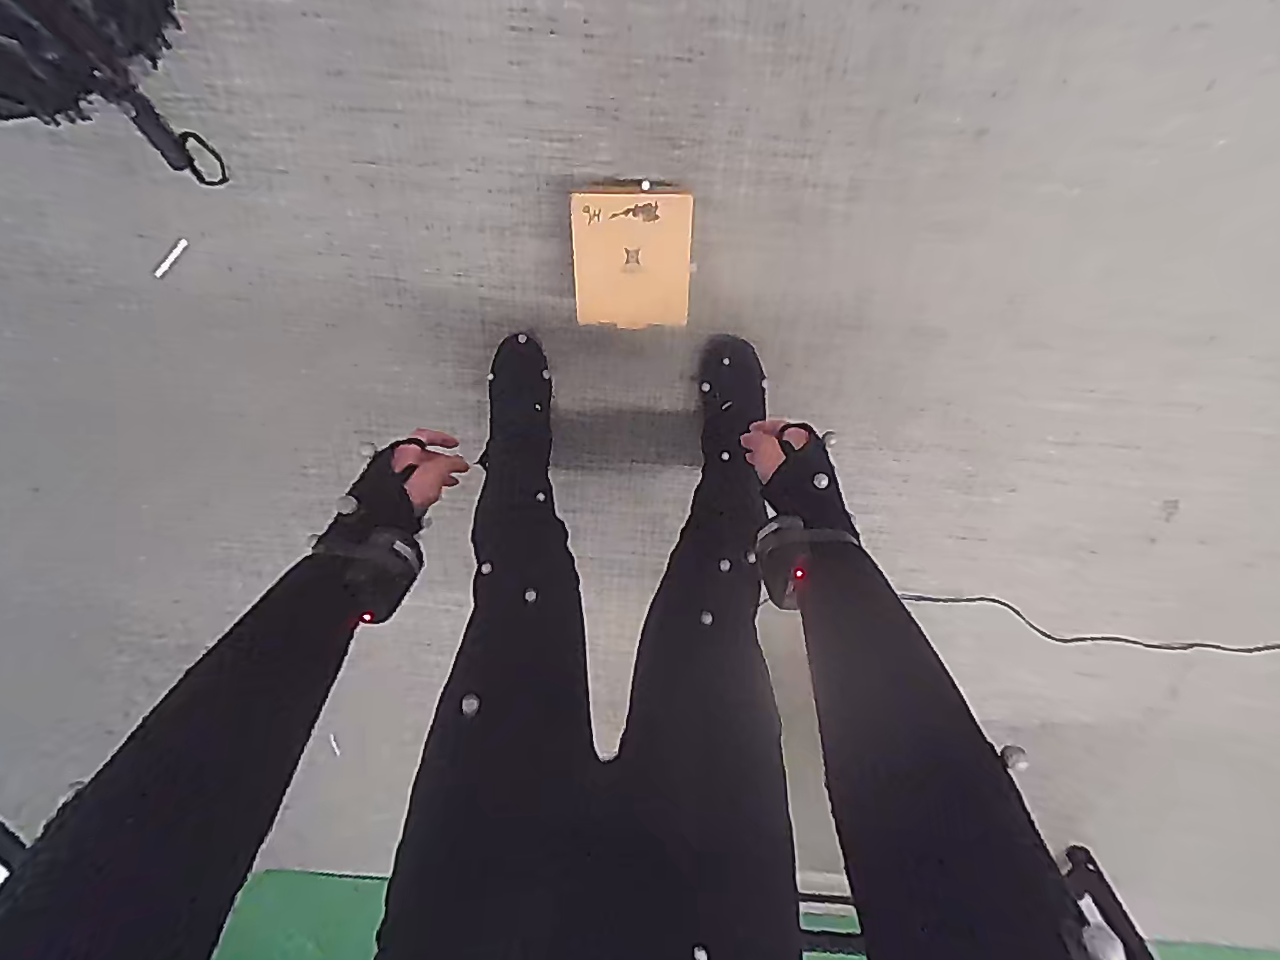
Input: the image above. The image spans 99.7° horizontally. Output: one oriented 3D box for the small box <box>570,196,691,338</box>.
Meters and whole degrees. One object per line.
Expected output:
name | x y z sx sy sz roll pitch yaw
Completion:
small box | -0.010 -0.331 0.834 0.168 0.176 0.179 1 122 2
